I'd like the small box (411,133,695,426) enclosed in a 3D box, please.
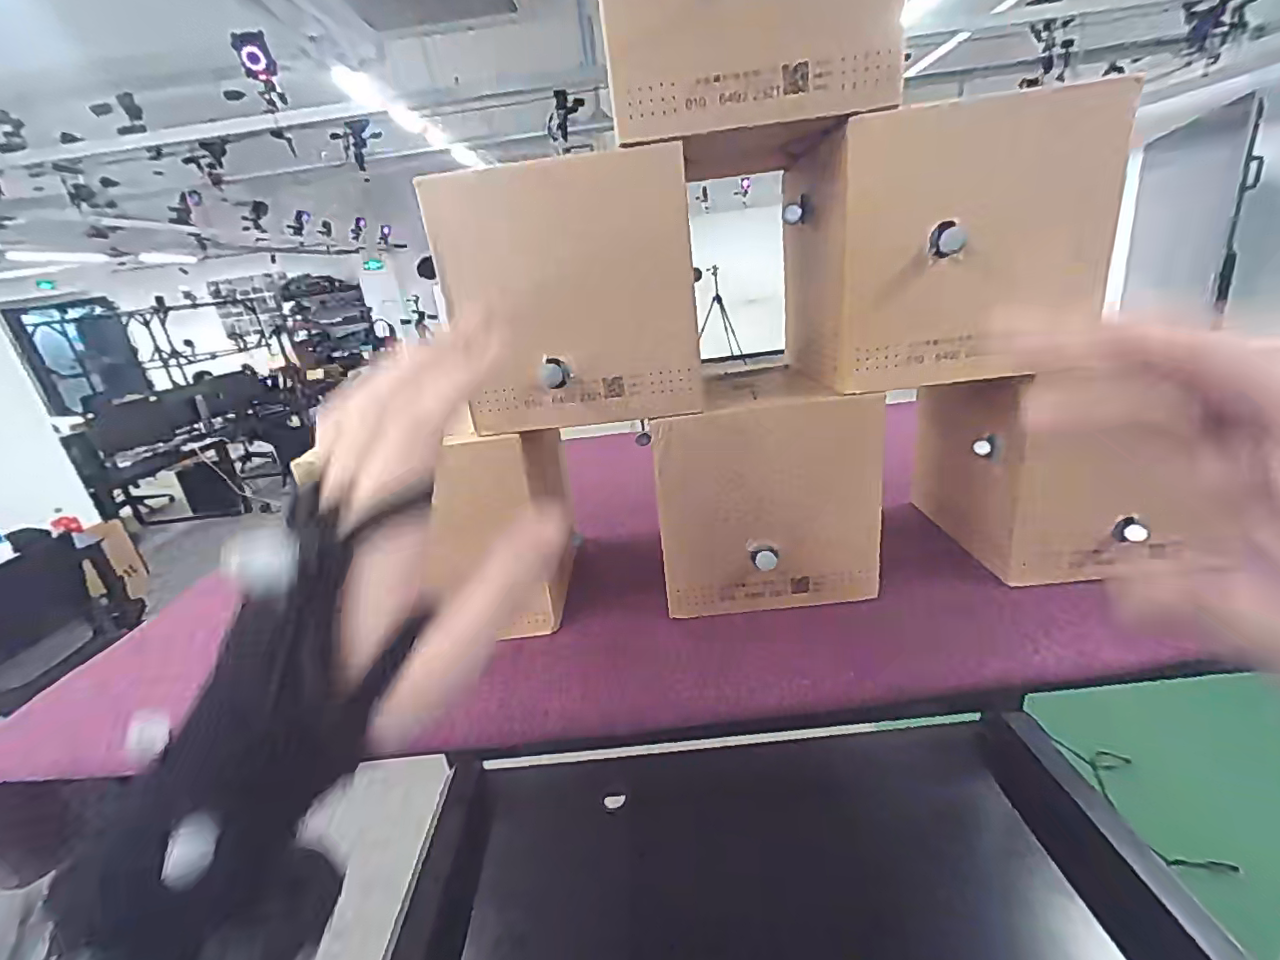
[{"bbox_3d":[-0.049,-0.146,0.426,0.168,0.176,0.179,-6,20,4],"label":"small box"}]

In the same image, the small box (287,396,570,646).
[{"bbox_3d":[-0.161,0.022,0.480,0.168,0.176,0.179,-7,19,2],"label":"small box"}]

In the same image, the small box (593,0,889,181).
[{"bbox_3d":[0.055,-0.311,0.361,0.168,0.176,0.179,-6,20,3],"label":"small box"}]

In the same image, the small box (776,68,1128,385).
[{"bbox_3d":[0.207,-0.171,0.412,0.168,0.176,0.179,-6,20,3],"label":"small box"}]
